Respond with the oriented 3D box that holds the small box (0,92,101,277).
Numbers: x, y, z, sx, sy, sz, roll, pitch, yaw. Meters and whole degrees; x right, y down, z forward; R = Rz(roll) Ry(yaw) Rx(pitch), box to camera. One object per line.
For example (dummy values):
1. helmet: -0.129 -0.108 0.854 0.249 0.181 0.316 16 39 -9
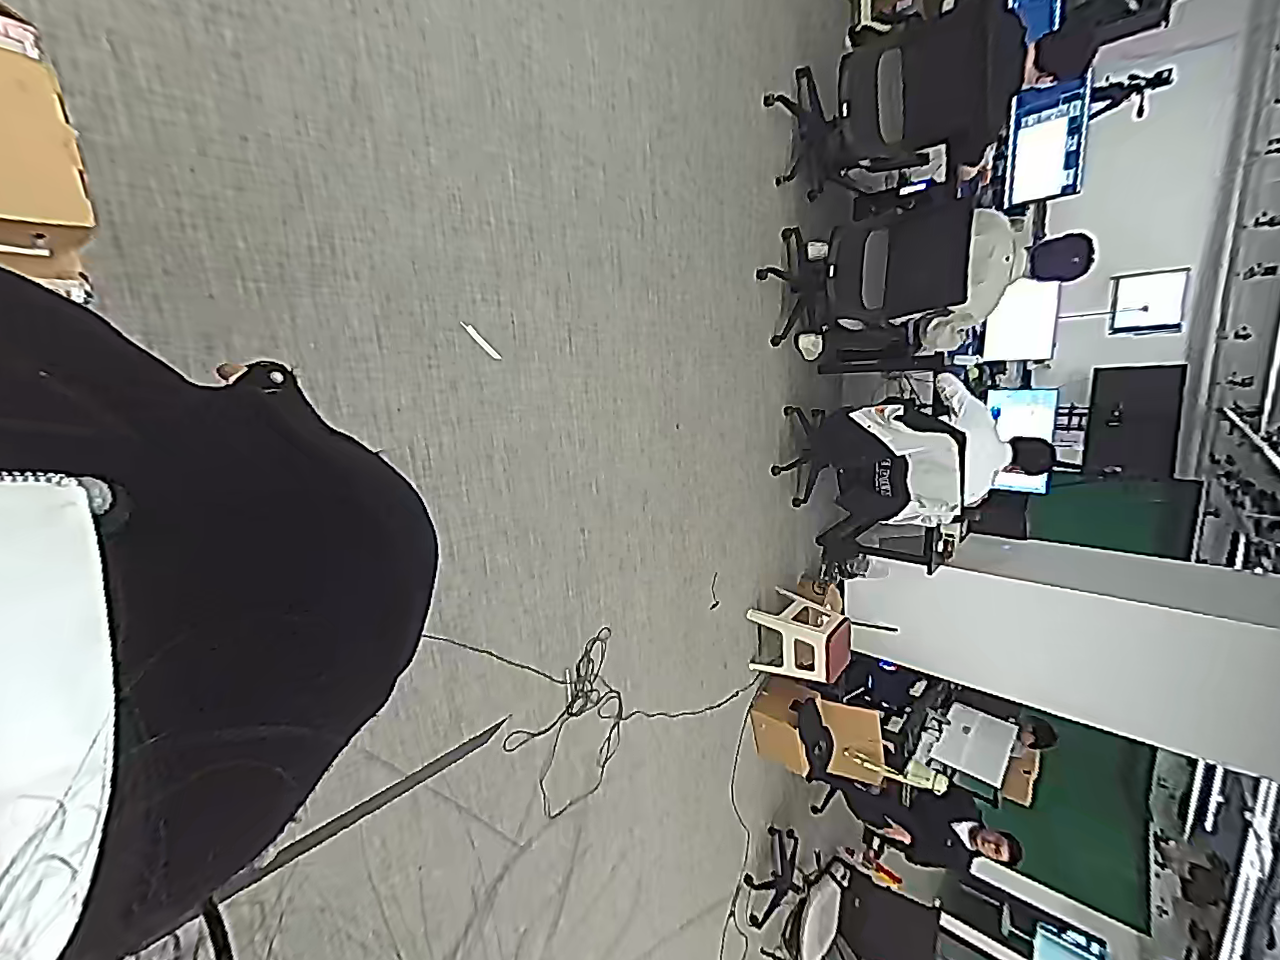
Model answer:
1. small box: -0.746 -0.322 0.595 0.179 0.176 0.168 -19 111 -47
